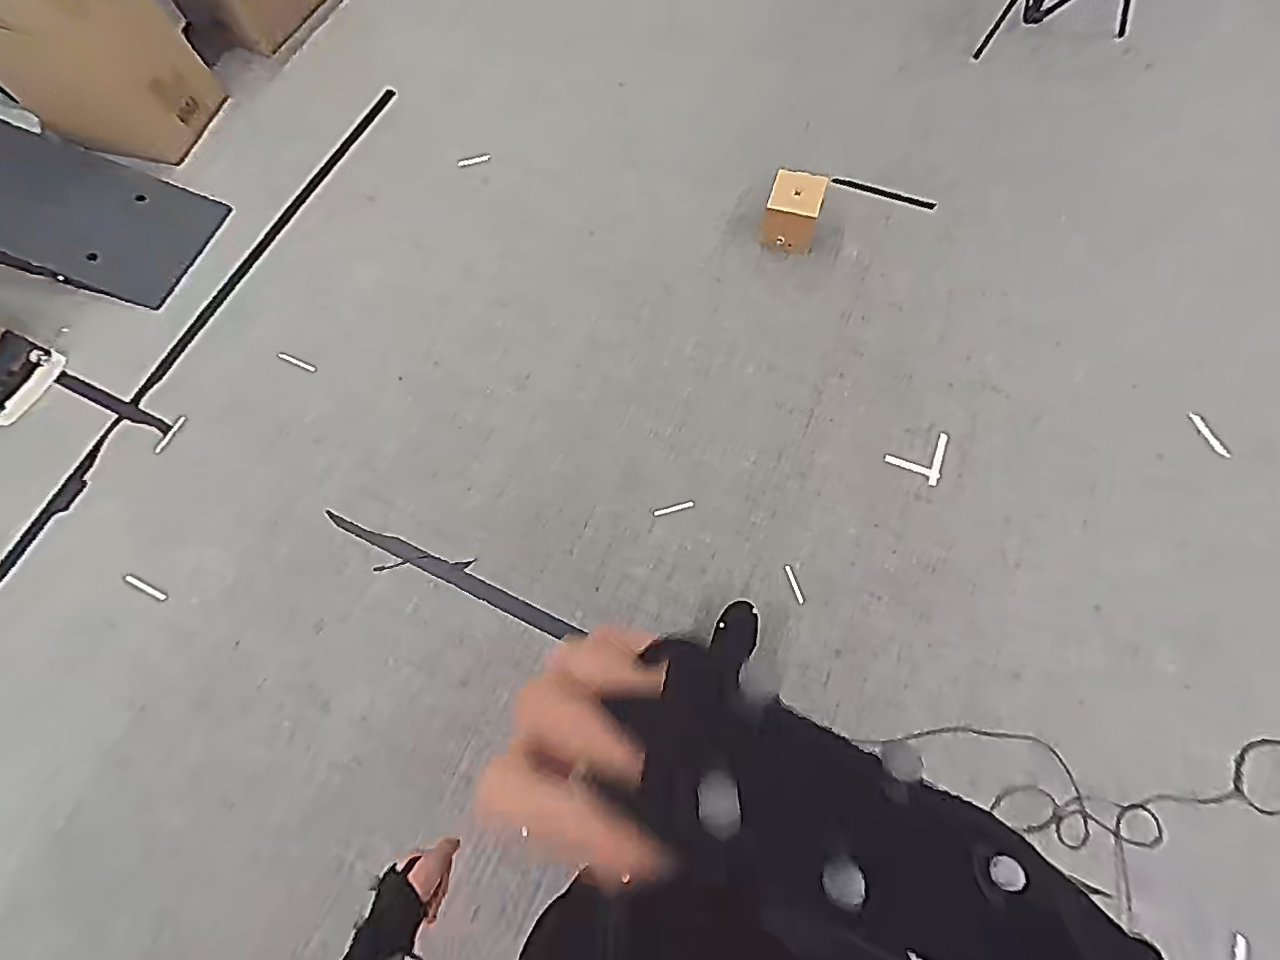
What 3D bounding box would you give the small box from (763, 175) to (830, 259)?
[{"bbox_3d":[0.526,-0.889,1.833,0.168,0.176,0.179,17,72,9],"label":"small box"}]
